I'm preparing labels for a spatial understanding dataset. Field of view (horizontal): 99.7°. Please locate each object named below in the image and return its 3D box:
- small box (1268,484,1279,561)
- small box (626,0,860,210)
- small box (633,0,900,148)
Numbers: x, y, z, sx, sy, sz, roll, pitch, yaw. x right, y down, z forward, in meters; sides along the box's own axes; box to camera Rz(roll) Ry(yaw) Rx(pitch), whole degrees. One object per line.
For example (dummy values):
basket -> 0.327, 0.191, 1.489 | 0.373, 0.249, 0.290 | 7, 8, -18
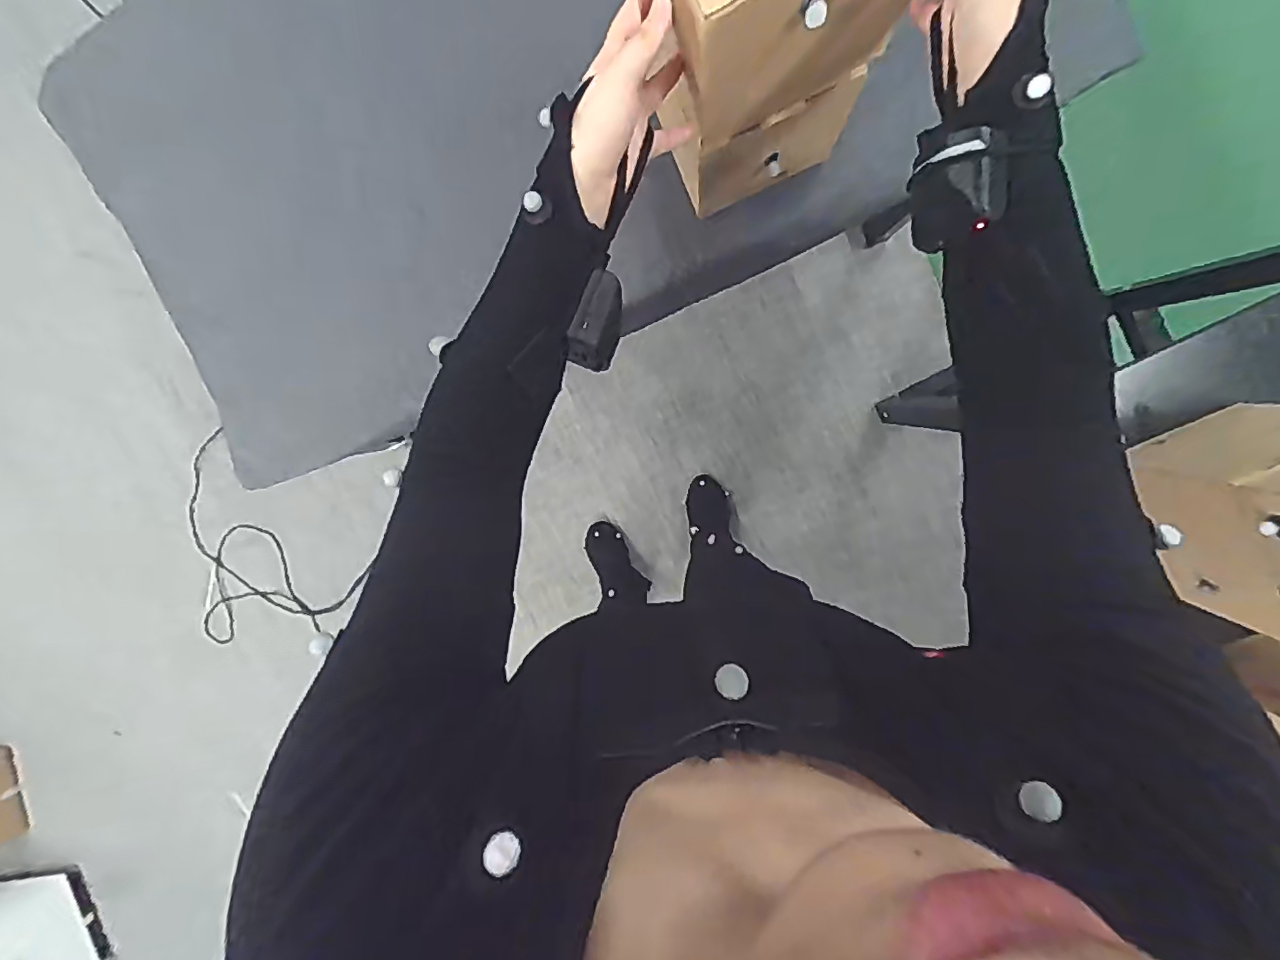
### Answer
small box -> 0.647, 0.062, 0.404 | 0.179, 0.176, 0.168 | -23, 96, 8
small box -> 0.102, -0.412, 0.565 | 0.168, 0.176, 0.179 | -23, 94, 9
small box -> 0.090, -0.399, 0.402 | 0.179, 0.176, 0.168 | -25, 93, 10
